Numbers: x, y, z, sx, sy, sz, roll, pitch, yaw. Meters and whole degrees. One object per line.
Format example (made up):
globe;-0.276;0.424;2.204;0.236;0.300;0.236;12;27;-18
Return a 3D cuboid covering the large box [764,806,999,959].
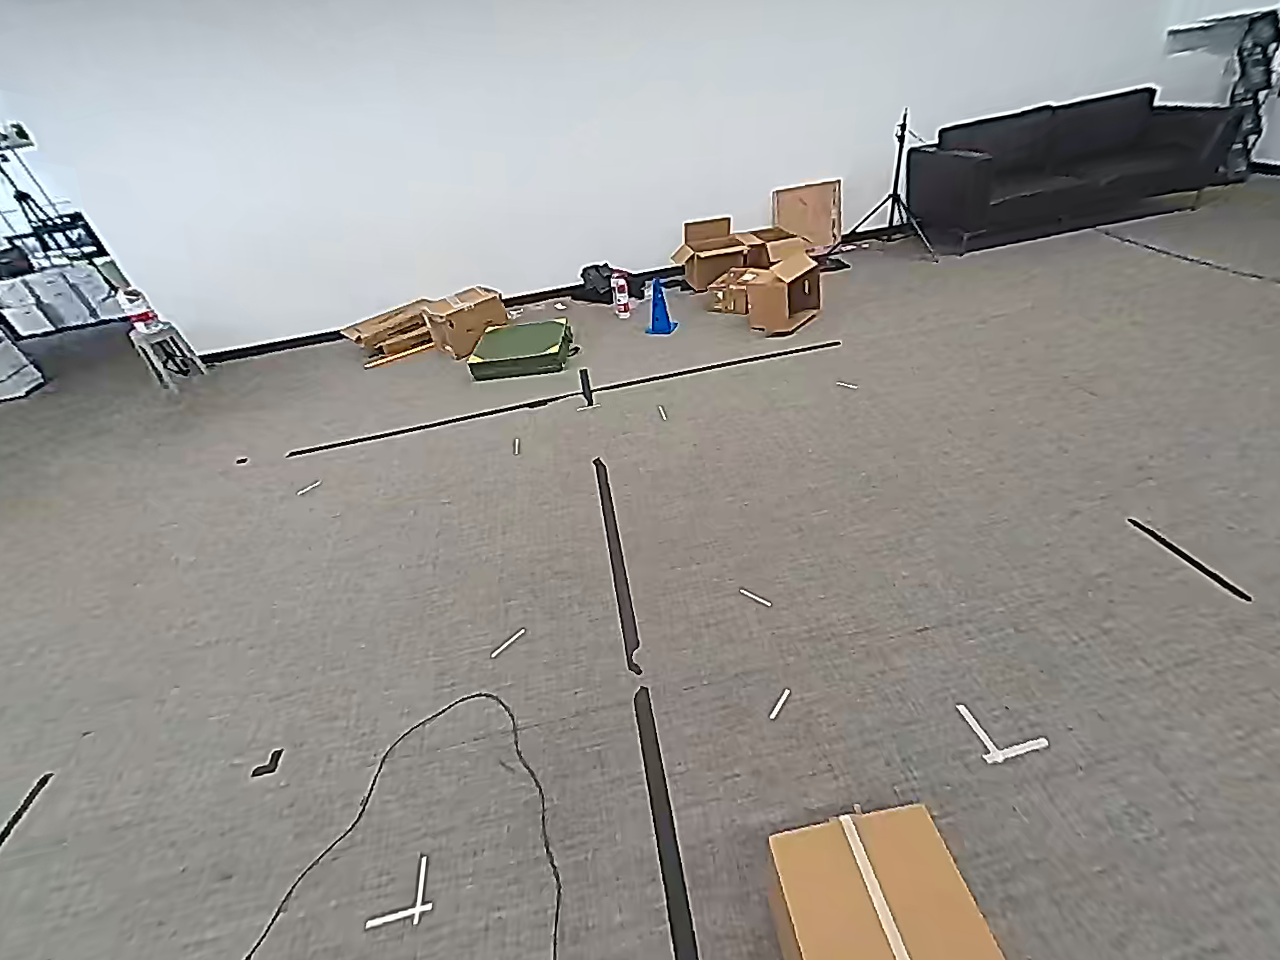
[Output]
large box;0.438;0.891;0.976;0.320;0.320;0.408;-11;37;-2
